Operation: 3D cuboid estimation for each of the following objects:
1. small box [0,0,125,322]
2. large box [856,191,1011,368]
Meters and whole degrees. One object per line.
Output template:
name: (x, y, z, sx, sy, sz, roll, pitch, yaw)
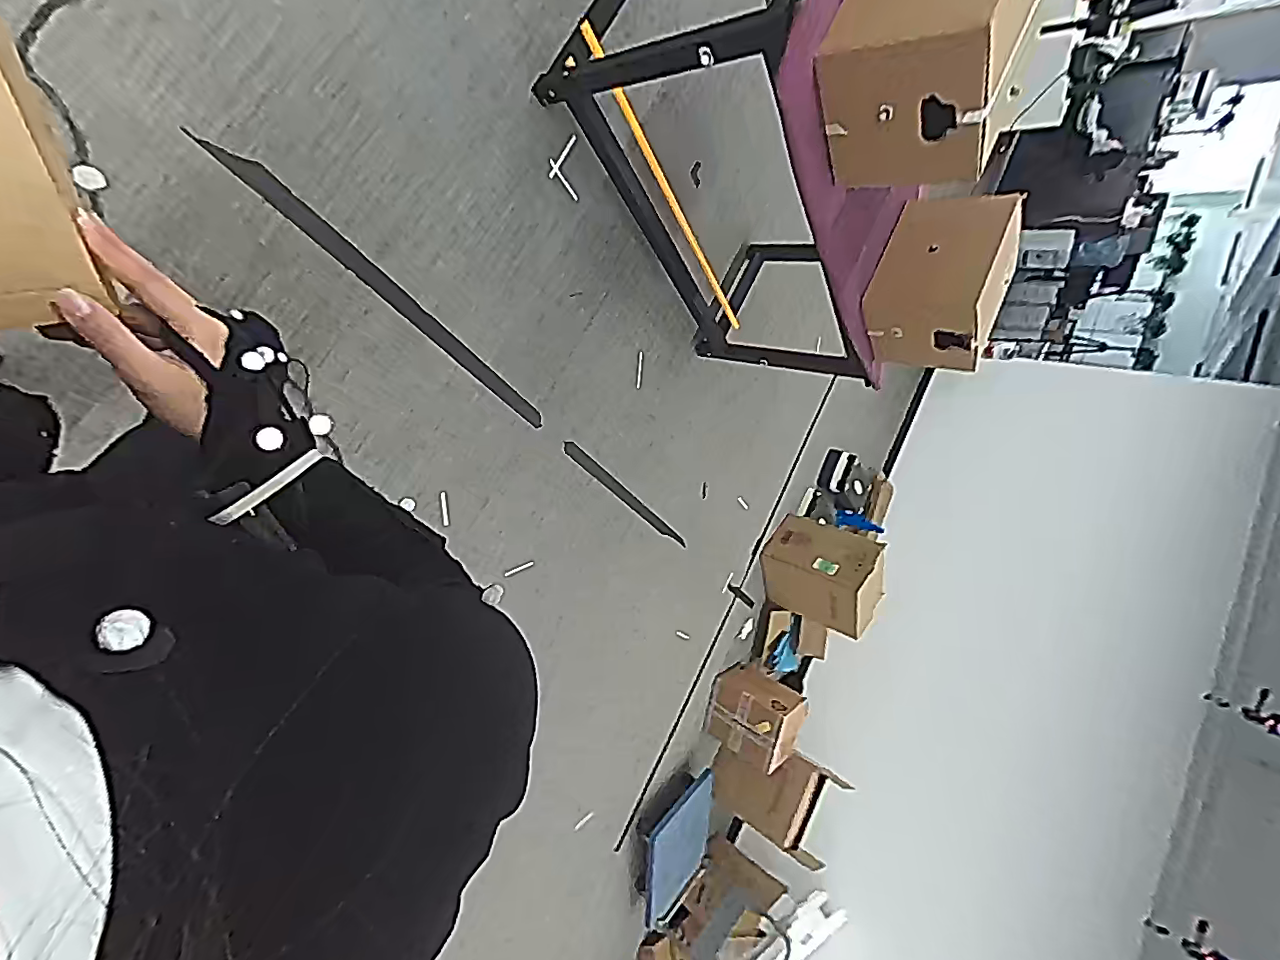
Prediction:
small box: (-0.409, -0.168, 0.276, 0.179, 0.176, 0.168, -23, 124, -35)
large box: (0.913, -0.614, 1.687, 0.320, 0.320, 0.408, 42, 70, -52)
